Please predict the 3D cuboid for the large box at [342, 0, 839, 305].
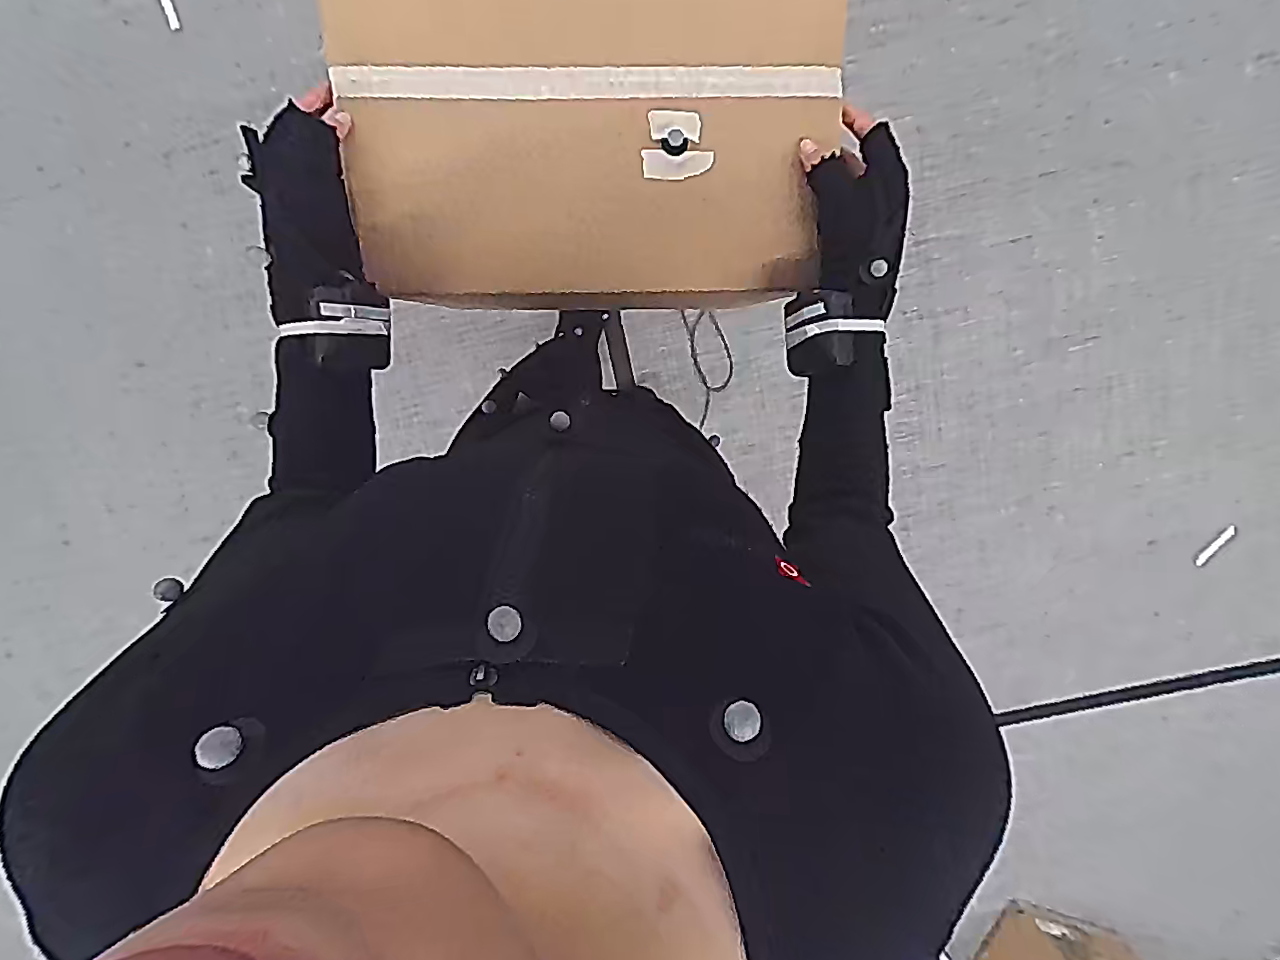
[{"bbox_3d":[-0.045,-0.366,0.588,0.408,0.320,0.320,-1,105,-3],"label":"large box"}]
